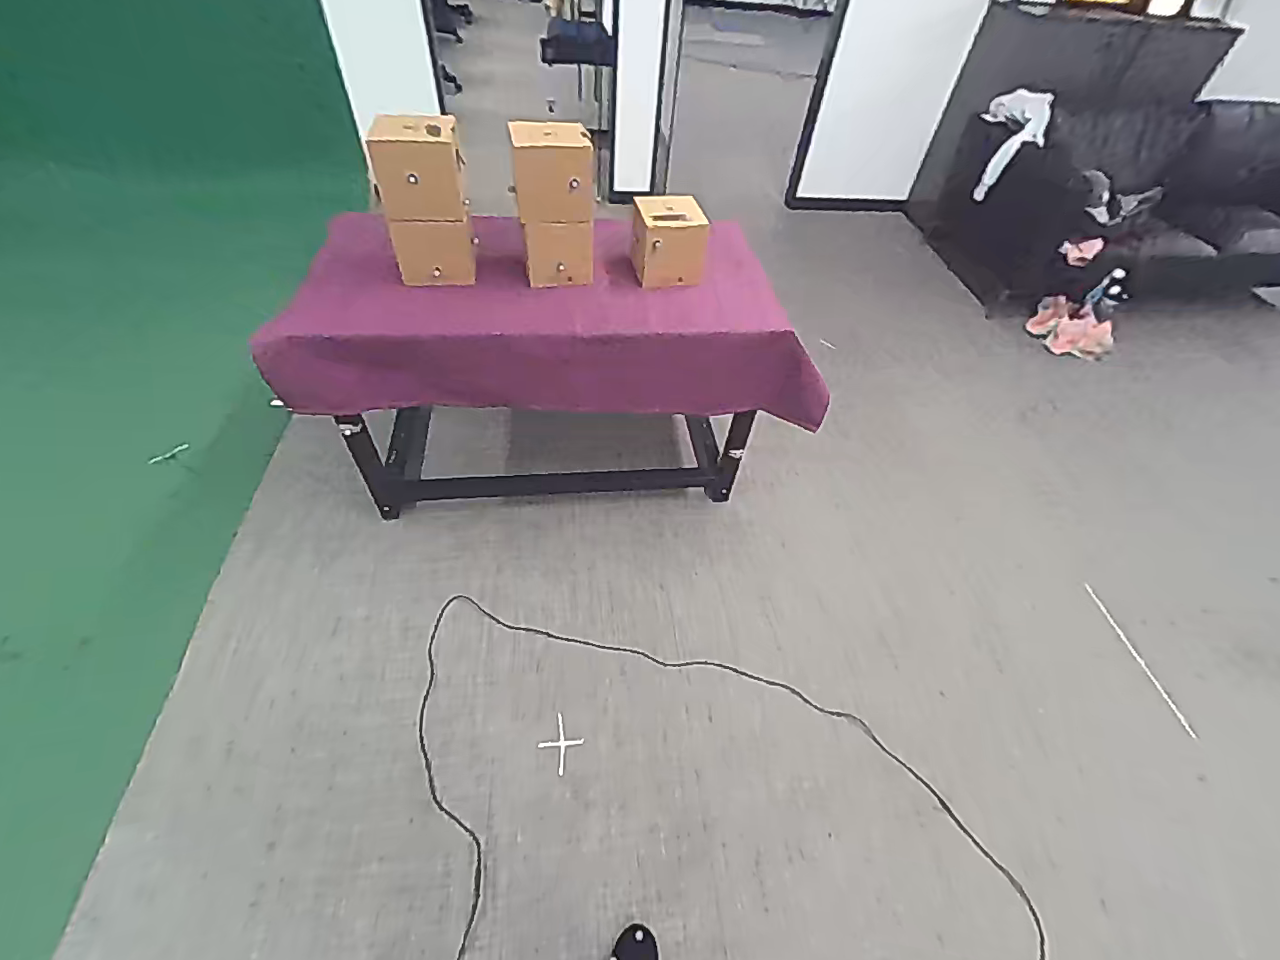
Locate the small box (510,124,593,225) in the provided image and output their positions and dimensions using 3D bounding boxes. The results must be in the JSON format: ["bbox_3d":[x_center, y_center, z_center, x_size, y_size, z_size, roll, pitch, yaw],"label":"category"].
[{"bbox_3d":[-0.212,-0.728,1.294,0.179,0.176,0.168,-7,50,-11],"label":"small box"}]

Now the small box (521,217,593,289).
[{"bbox_3d":[-0.221,-0.625,1.421,0.168,0.176,0.179,-9,52,-12],"label":"small box"}]

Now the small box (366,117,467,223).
[{"bbox_3d":[-0.503,-0.711,1.248,0.179,0.176,0.168,-5,51,-8],"label":"small box"}]

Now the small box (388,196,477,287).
[{"bbox_3d":[-0.516,-0.605,1.374,0.179,0.176,0.168,-4,50,-9],"label":"small box"}]
